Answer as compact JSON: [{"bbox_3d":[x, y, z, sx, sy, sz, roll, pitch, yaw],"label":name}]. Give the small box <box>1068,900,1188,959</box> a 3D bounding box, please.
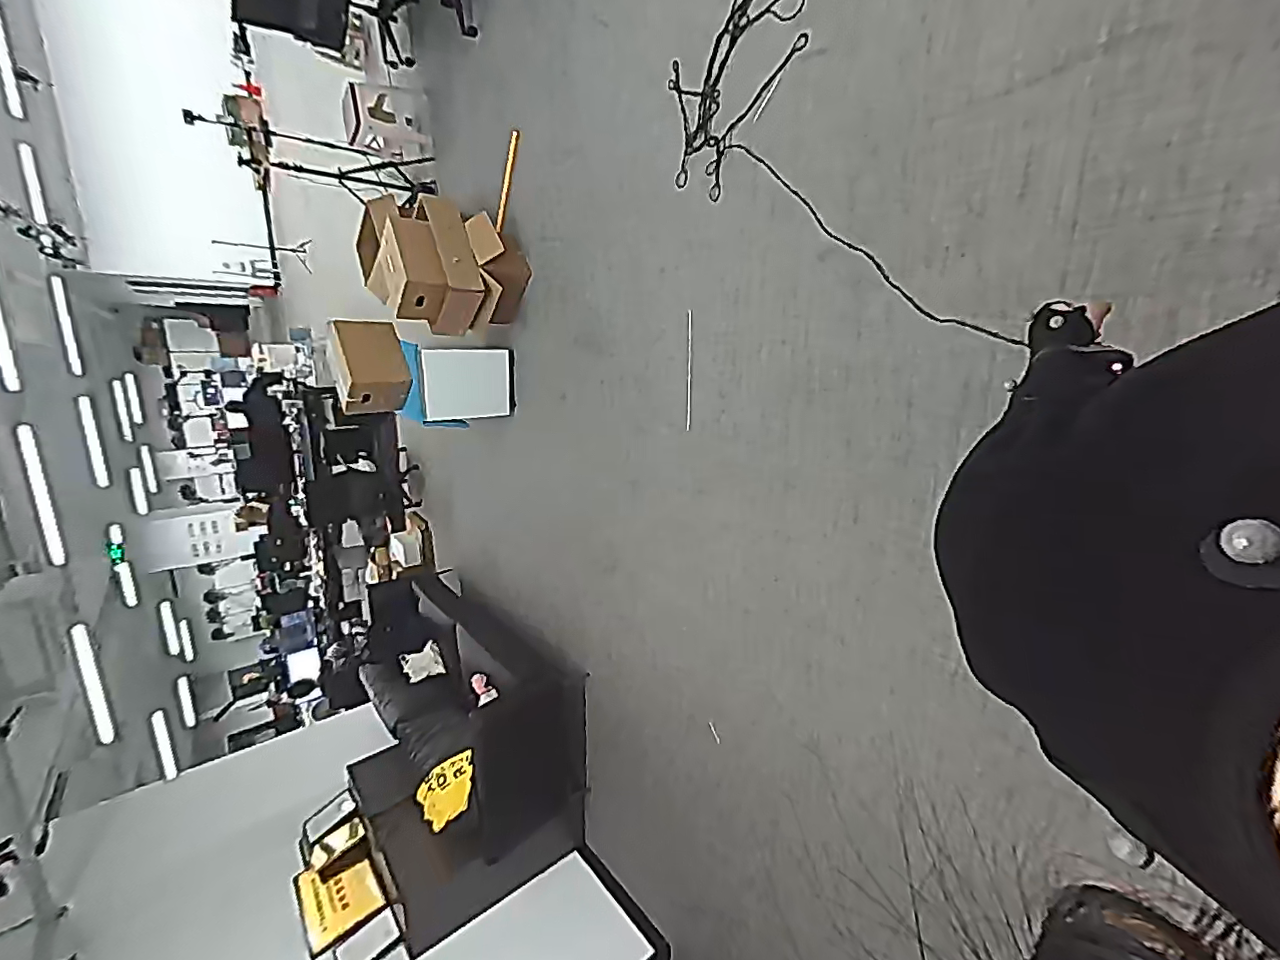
[{"bbox_3d":[1.111,1.131,1.240,0.179,0.176,0.168,23,115,47],"label":"small box"}]
